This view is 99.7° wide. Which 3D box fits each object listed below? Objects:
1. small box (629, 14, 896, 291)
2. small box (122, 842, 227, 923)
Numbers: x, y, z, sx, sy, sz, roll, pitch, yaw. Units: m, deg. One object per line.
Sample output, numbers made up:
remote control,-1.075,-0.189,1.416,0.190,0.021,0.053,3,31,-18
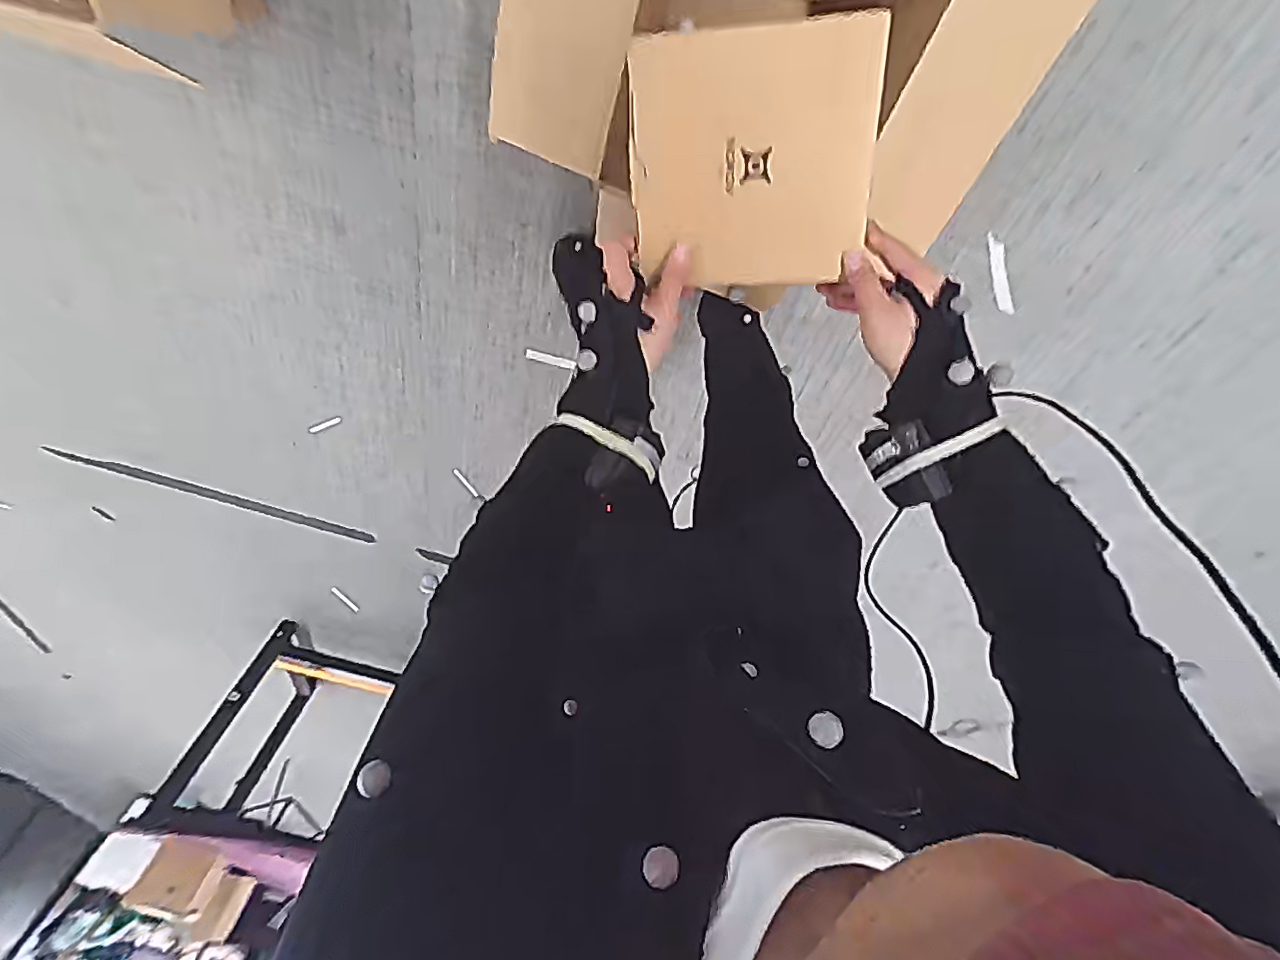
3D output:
small box,0.093,-0.259,0.459,0.179,0.176,0.168,1,115,10
small box,-1.444,1.262,1.699,0.179,0.176,0.168,18,133,-5
